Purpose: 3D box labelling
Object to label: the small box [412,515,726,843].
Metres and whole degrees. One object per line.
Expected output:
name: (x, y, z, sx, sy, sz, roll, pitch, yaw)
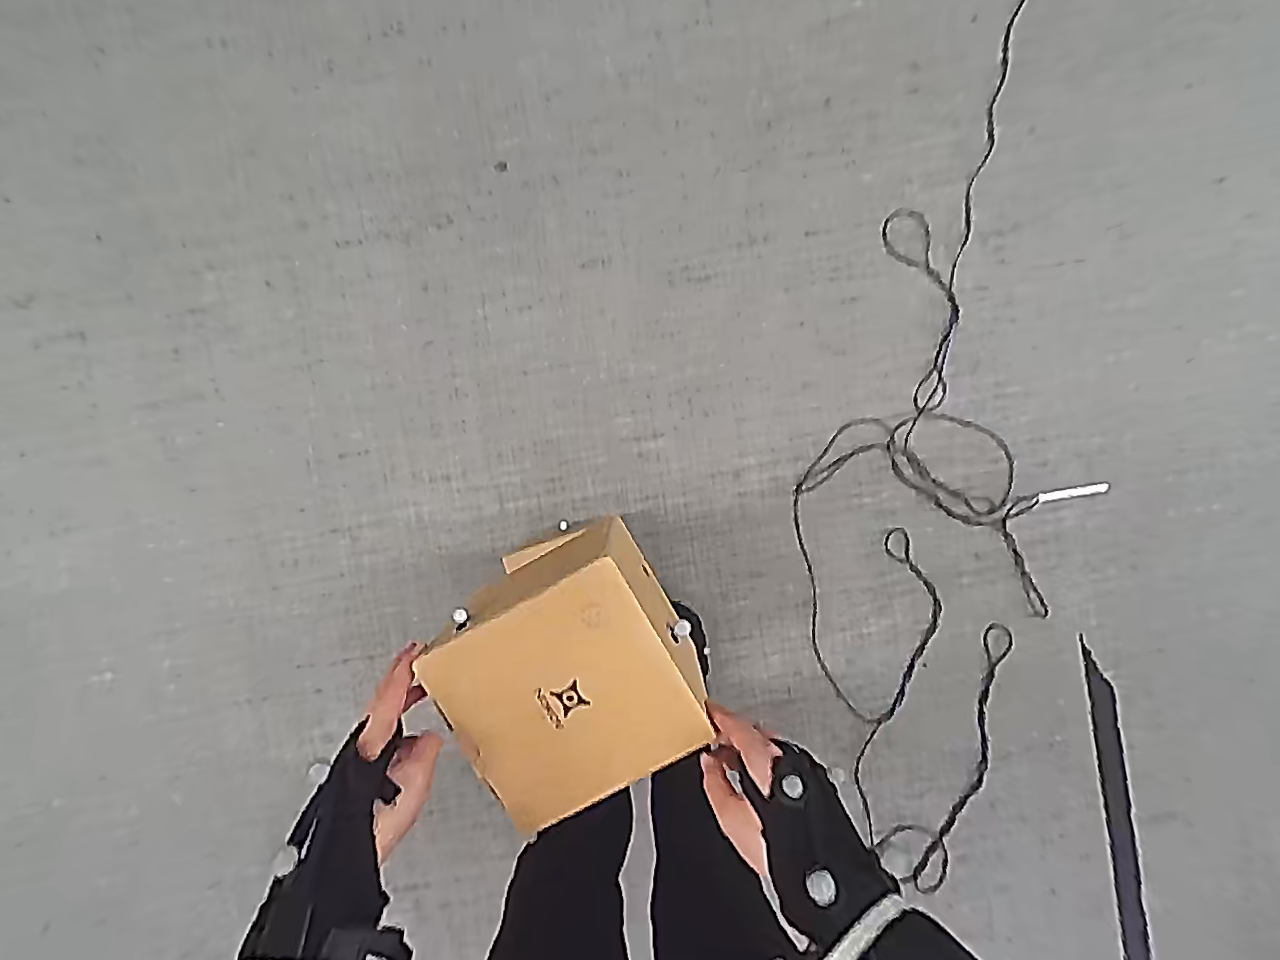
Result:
small box: (-0.051, 0.150, 0.468, 0.179, 0.176, 0.168, -30, 97, 5)
